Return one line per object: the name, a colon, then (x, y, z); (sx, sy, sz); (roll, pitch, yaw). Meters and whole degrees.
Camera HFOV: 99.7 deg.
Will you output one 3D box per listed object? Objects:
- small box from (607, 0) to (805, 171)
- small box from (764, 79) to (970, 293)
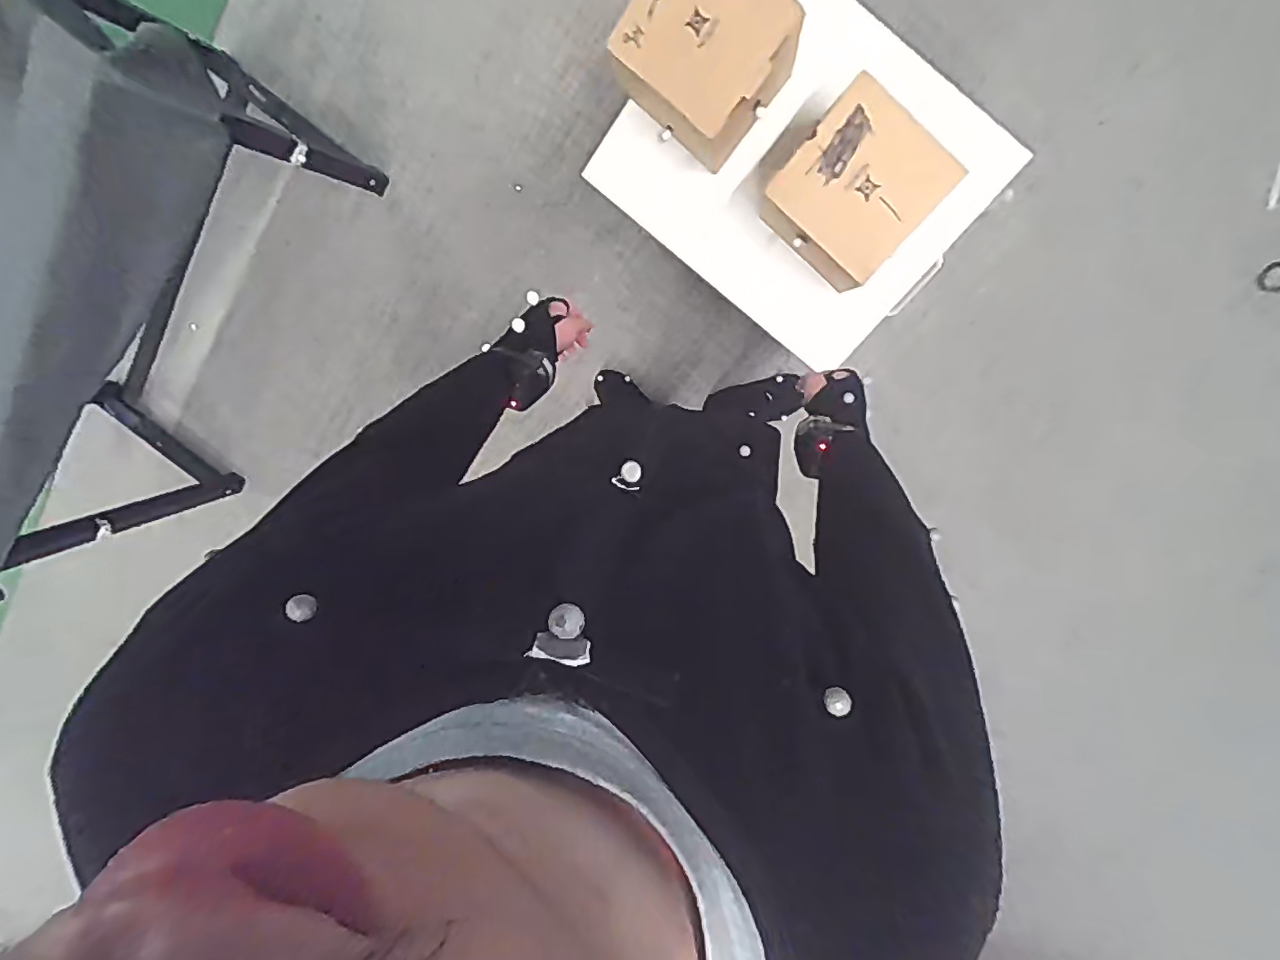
small box: (0.088, -0.540, 0.709); (0.179, 0.176, 0.168); (40, 109, -3)
small box: (0.280, -0.367, 0.719); (0.179, 0.176, 0.168); (42, 109, -3)
